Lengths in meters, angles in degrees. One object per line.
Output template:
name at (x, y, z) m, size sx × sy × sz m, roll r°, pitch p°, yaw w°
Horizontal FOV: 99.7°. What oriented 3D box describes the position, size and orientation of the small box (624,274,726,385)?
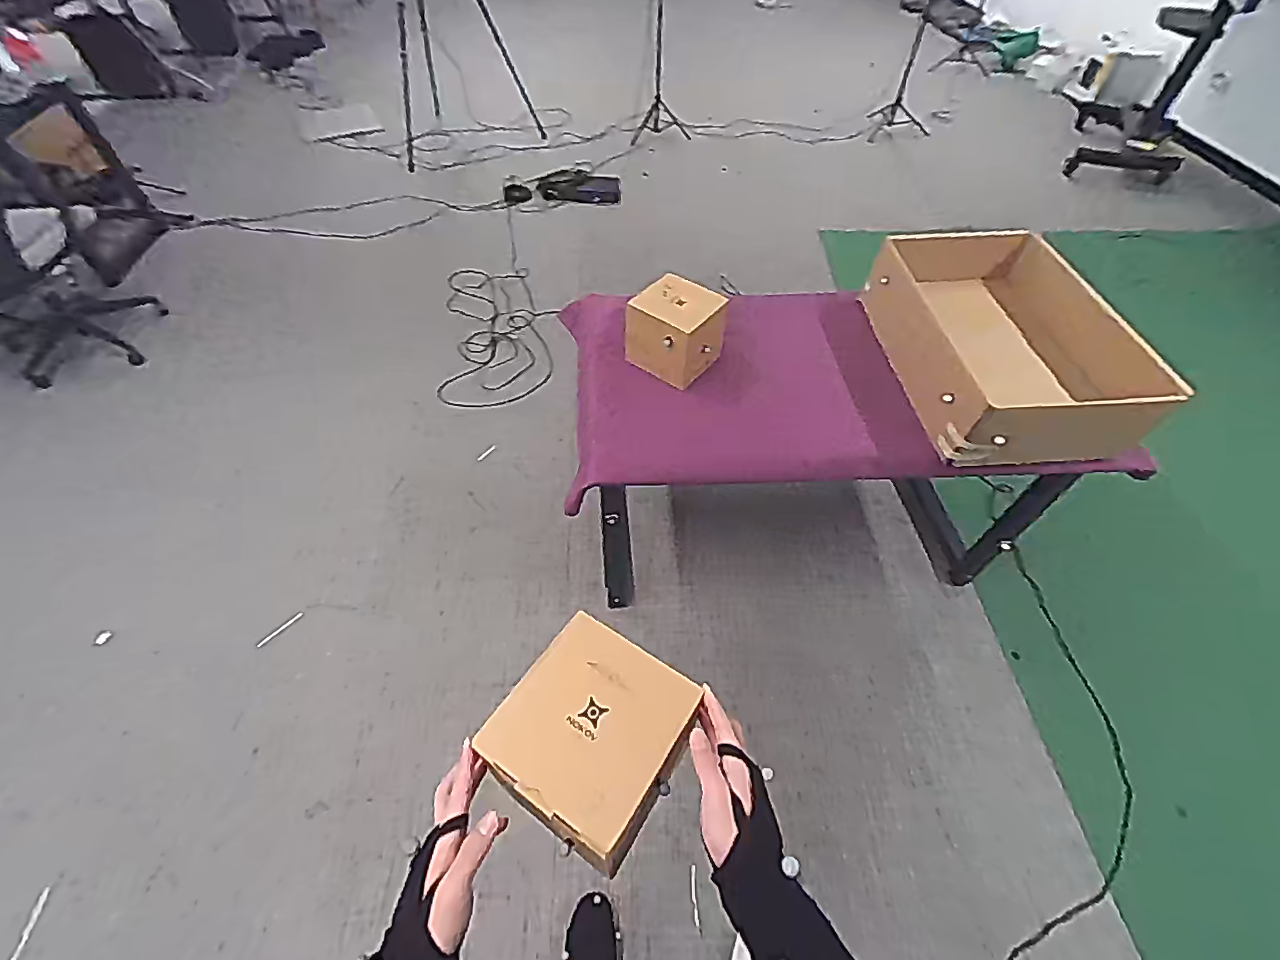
small box at (0.079, -0.351, 1.286) m, size 0.179 × 0.176 × 0.168 m, roll 33°, pitch 58°, yaw 21°
